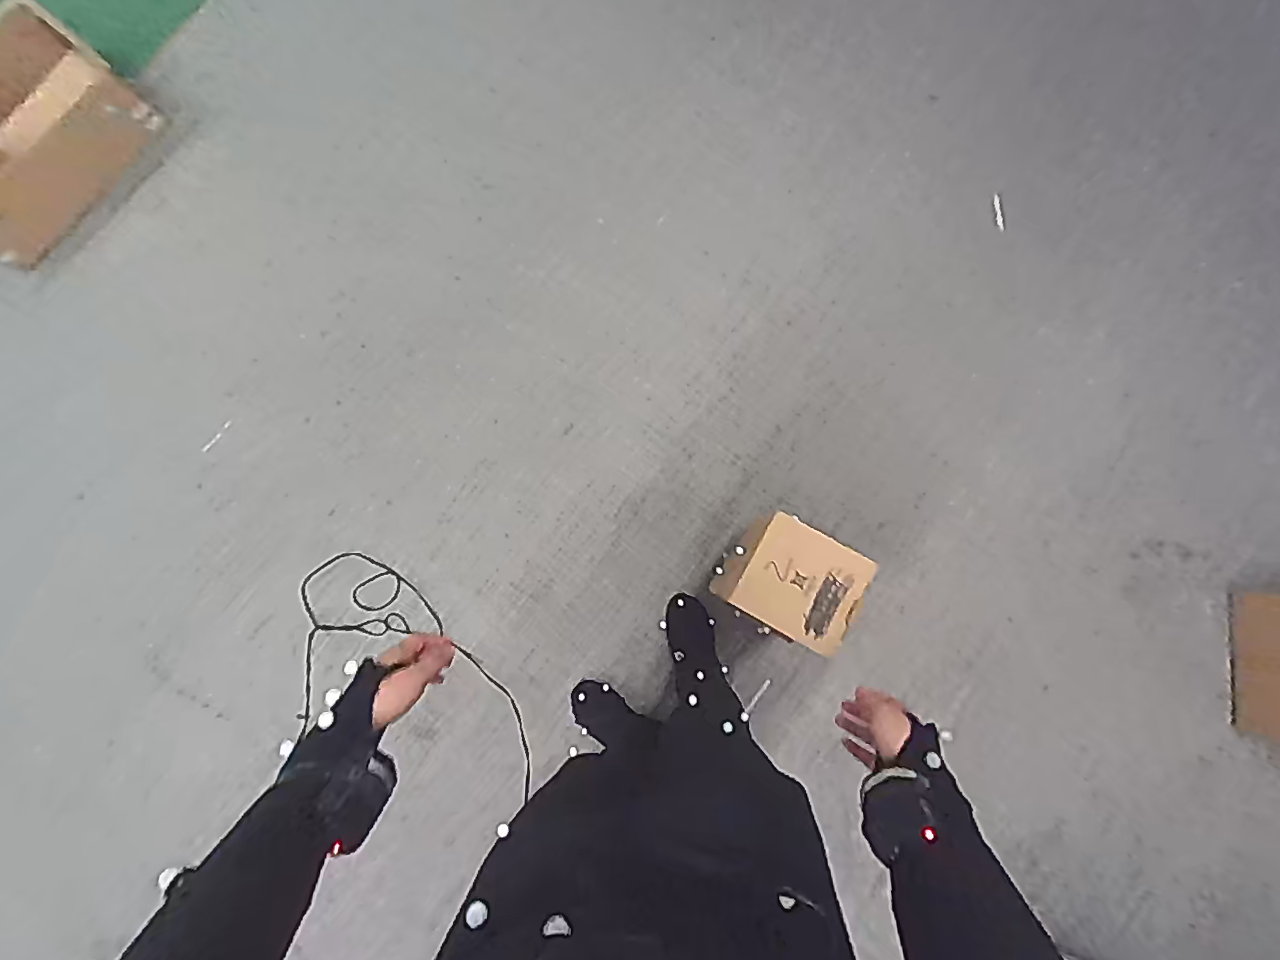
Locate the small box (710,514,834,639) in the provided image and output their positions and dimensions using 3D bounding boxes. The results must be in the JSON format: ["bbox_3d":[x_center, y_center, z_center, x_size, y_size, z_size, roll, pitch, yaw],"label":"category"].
[{"bbox_3d":[0.252,0.189,1.078,0.168,0.176,0.179,32,84,6],"label":"small box"}]
